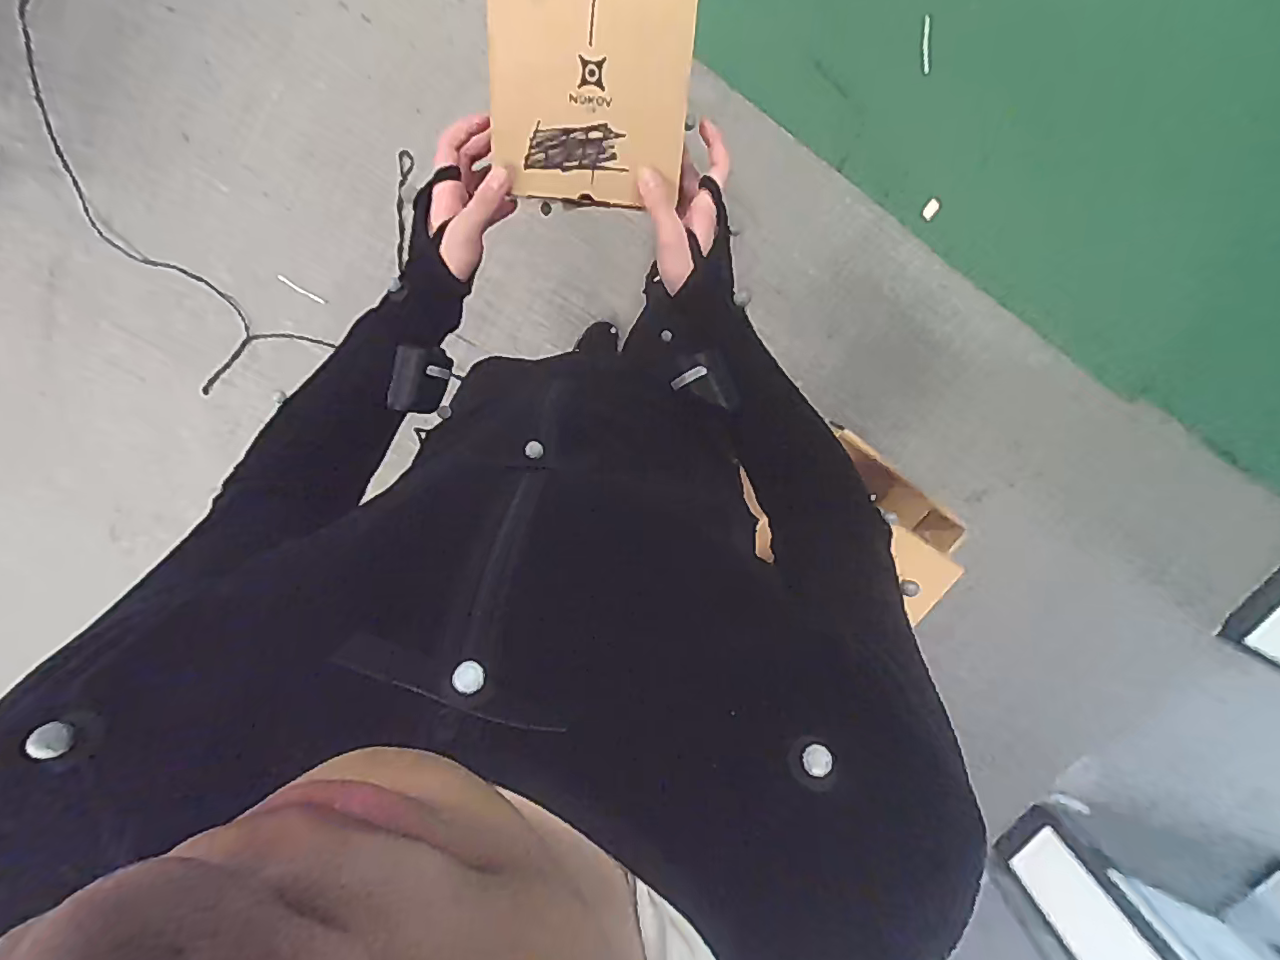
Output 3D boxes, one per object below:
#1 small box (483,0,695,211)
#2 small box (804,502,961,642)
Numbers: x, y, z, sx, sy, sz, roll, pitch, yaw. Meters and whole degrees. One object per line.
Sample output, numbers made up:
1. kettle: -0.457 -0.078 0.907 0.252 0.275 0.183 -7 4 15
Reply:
1. small box: -0.047 -0.358 0.512 0.168 0.176 0.179 3 115 -5
2. small box: 0.451 0.166 1.033 0.179 0.176 0.168 32 103 -12
